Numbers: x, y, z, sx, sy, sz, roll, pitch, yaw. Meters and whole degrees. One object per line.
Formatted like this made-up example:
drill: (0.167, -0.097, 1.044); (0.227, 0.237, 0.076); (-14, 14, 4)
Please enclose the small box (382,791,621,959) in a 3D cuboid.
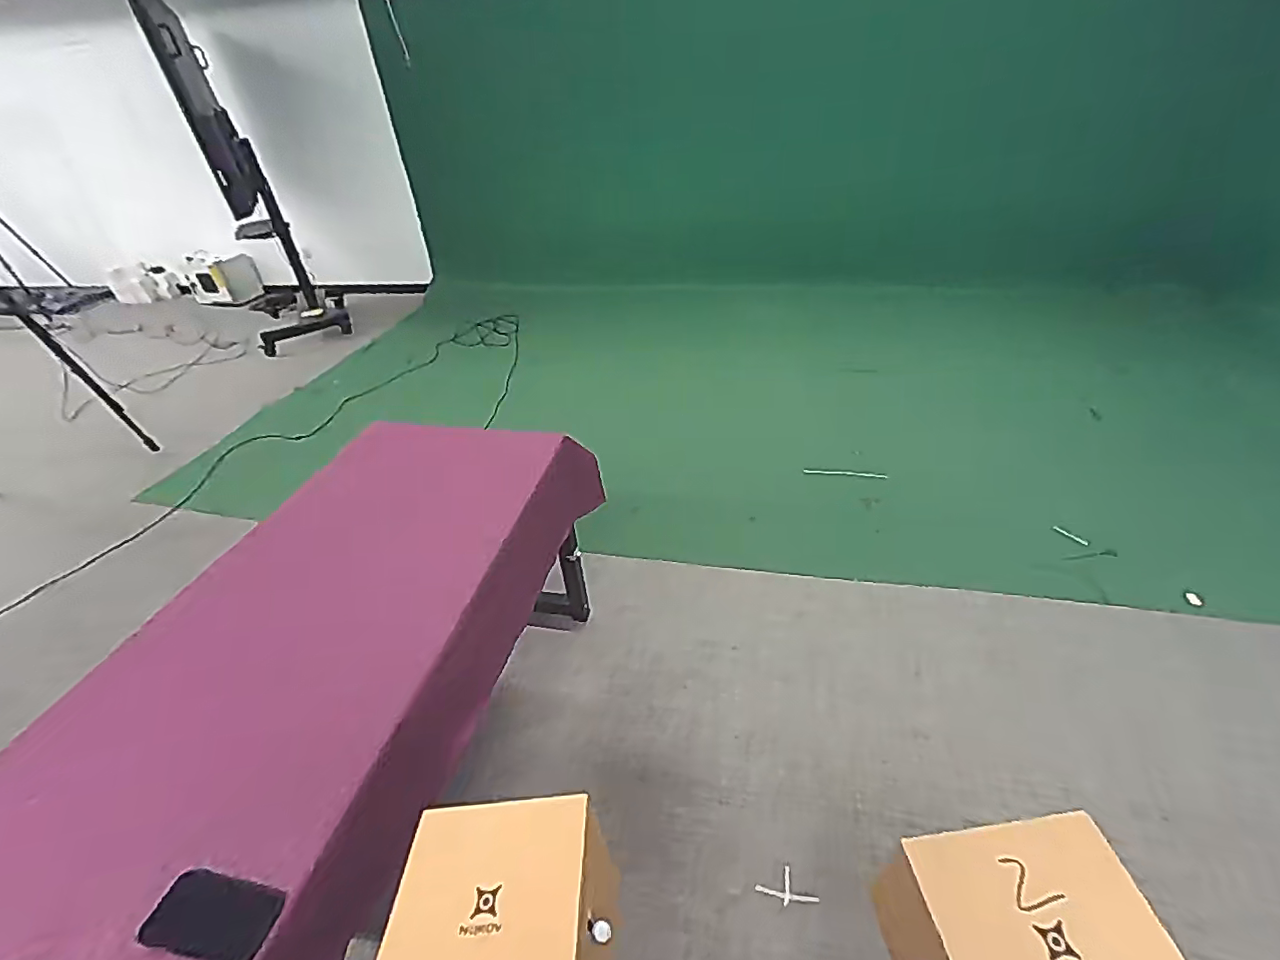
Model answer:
small box: (-0.112, 0.421, 0.493); (0.168, 0.176, 0.179); (-8, 32, 4)
